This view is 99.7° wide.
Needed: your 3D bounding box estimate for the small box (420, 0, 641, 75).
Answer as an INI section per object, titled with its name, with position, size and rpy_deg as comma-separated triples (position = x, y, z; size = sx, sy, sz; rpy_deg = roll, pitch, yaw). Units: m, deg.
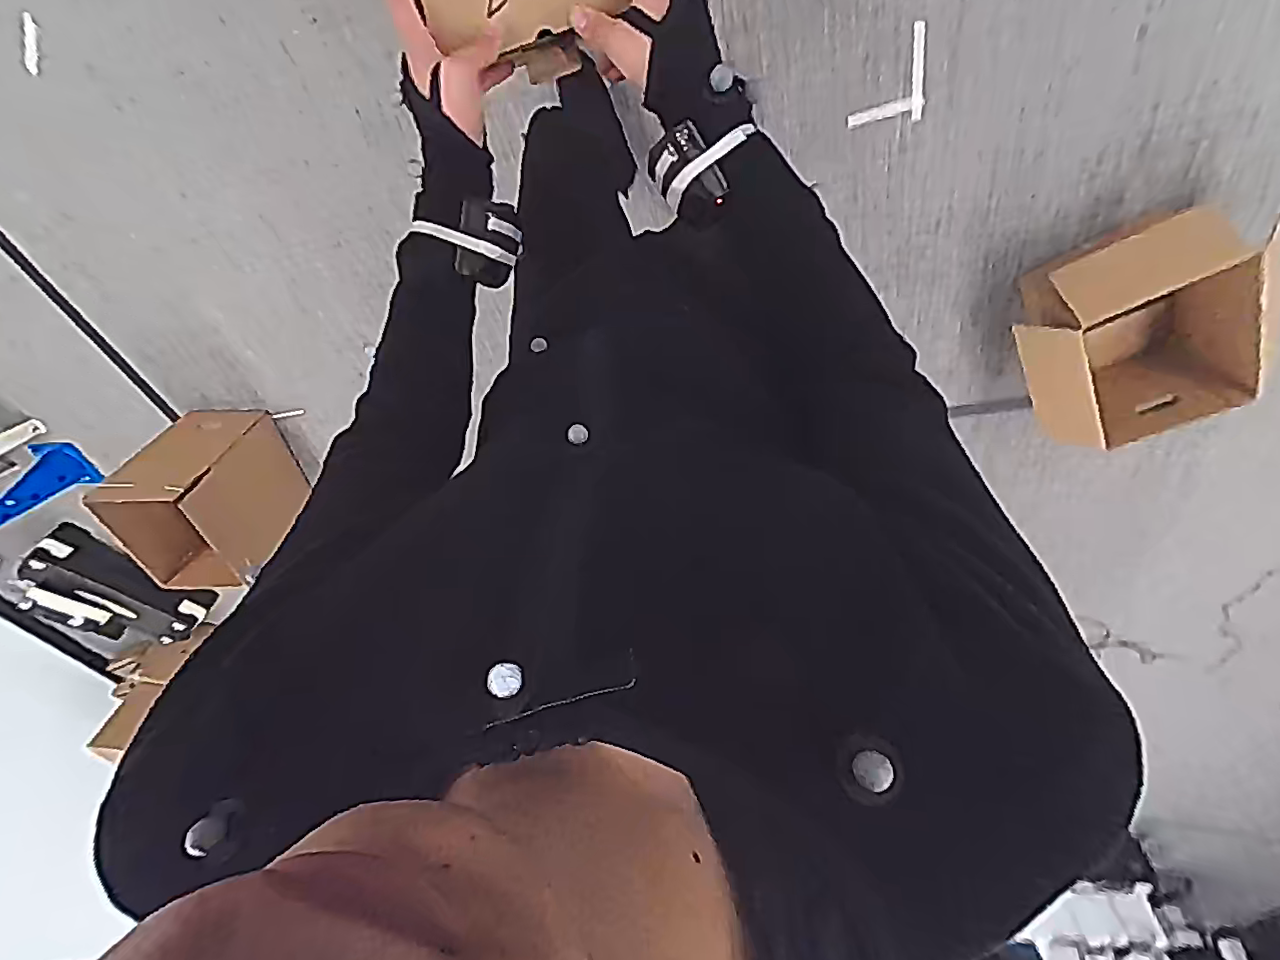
[small box]
position = -0.105, -0.459, 0.440
size = 0.168, 0.176, 0.179
rpy_deg = -15, 126, 5
